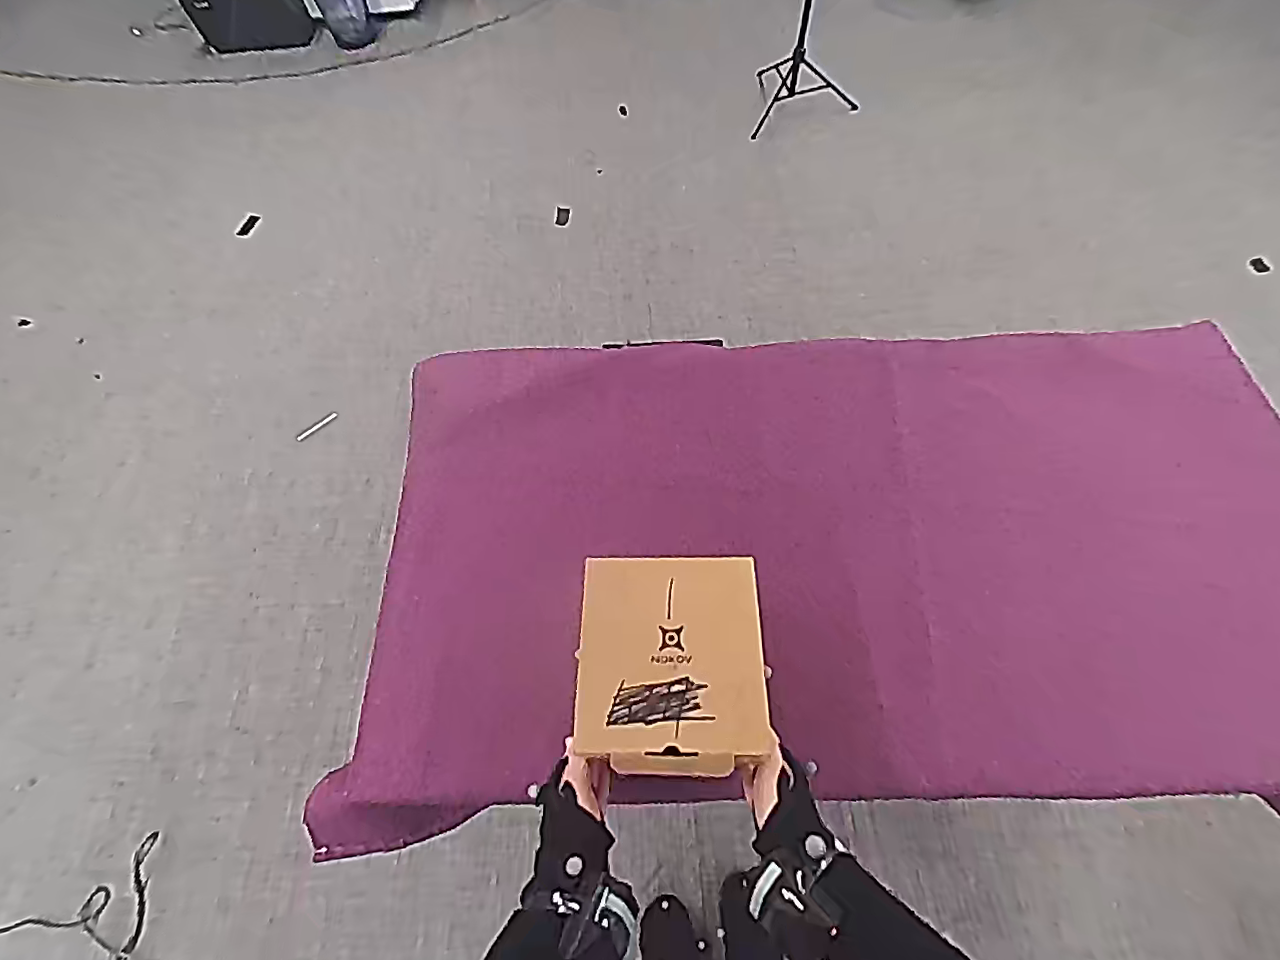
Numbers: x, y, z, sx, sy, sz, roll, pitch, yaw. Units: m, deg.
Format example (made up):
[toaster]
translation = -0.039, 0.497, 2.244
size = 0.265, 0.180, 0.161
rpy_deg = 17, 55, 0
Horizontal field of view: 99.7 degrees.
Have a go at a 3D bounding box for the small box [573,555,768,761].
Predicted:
[small box]
translation = 0.031, 0.189, 0.556
size = 0.168, 0.176, 0.179
rpy_deg = 0, 60, 2
